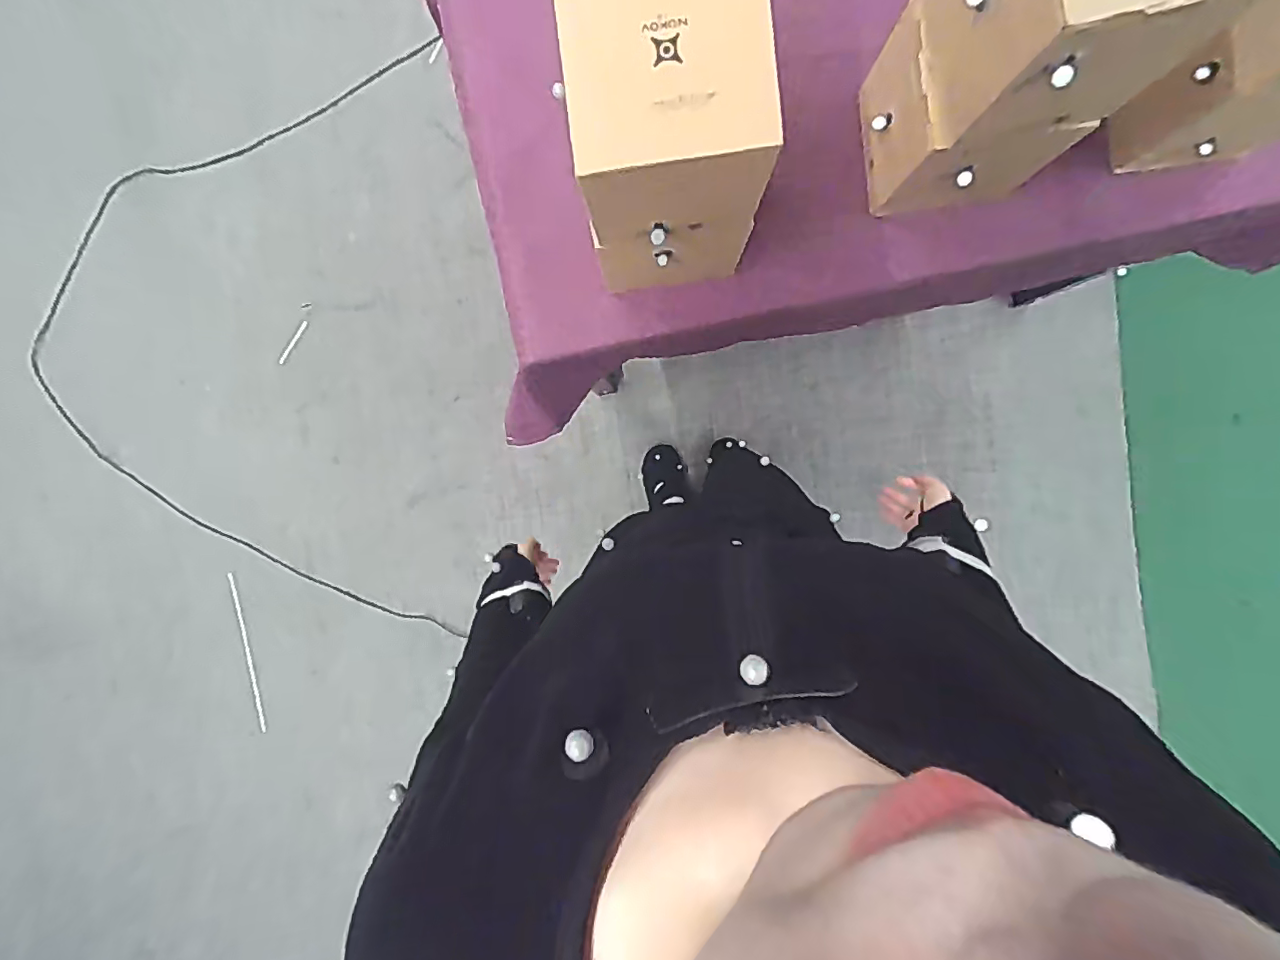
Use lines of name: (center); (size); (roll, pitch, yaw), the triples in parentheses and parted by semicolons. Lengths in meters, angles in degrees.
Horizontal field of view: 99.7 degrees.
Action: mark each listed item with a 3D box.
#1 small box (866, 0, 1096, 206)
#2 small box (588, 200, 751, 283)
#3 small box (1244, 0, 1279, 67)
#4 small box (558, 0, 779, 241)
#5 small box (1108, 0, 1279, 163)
small box: (0.382, -0.449, 0.640); (0.179, 0.176, 0.168); (-7, 93, 4)
small box: (0.029, -0.355, 0.662); (0.179, 0.176, 0.168); (-8, 93, 2)
small box: (0.681, -0.492, 0.458); (0.168, 0.176, 0.179); (-8, 94, 3)
small box: (0.023, -0.348, 0.499); (0.168, 0.176, 0.179); (-6, 94, 3)
small box: (0.688, -0.504, 0.623); (0.168, 0.176, 0.179); (-6, 94, 3)
